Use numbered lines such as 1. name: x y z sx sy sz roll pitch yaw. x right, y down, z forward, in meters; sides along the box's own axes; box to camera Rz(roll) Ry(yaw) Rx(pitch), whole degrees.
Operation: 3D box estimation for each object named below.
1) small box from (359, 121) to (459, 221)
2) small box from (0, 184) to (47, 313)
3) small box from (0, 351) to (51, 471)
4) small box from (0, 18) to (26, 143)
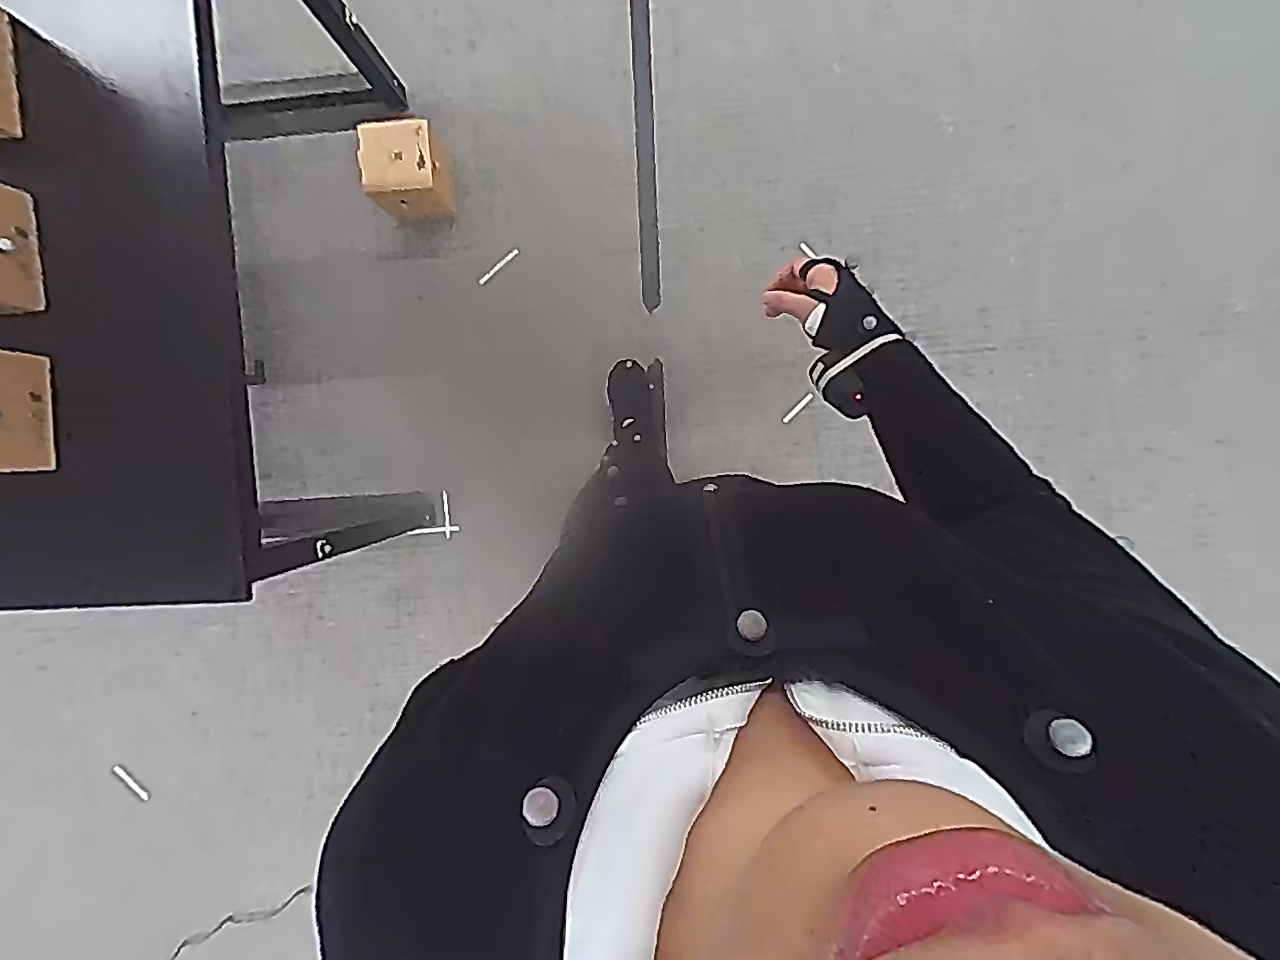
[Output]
1. small box: -0.590 -0.787 1.395 0.179 0.176 0.168 -4 94 3
2. small box: -0.953 -0.318 0.705 0.179 0.176 0.168 -3 93 2
3. small box: -0.946 -0.094 0.716 0.179 0.176 0.168 0 93 2
4. small box: -0.966 -0.566 0.694 0.168 0.176 0.179 -3 94 3
